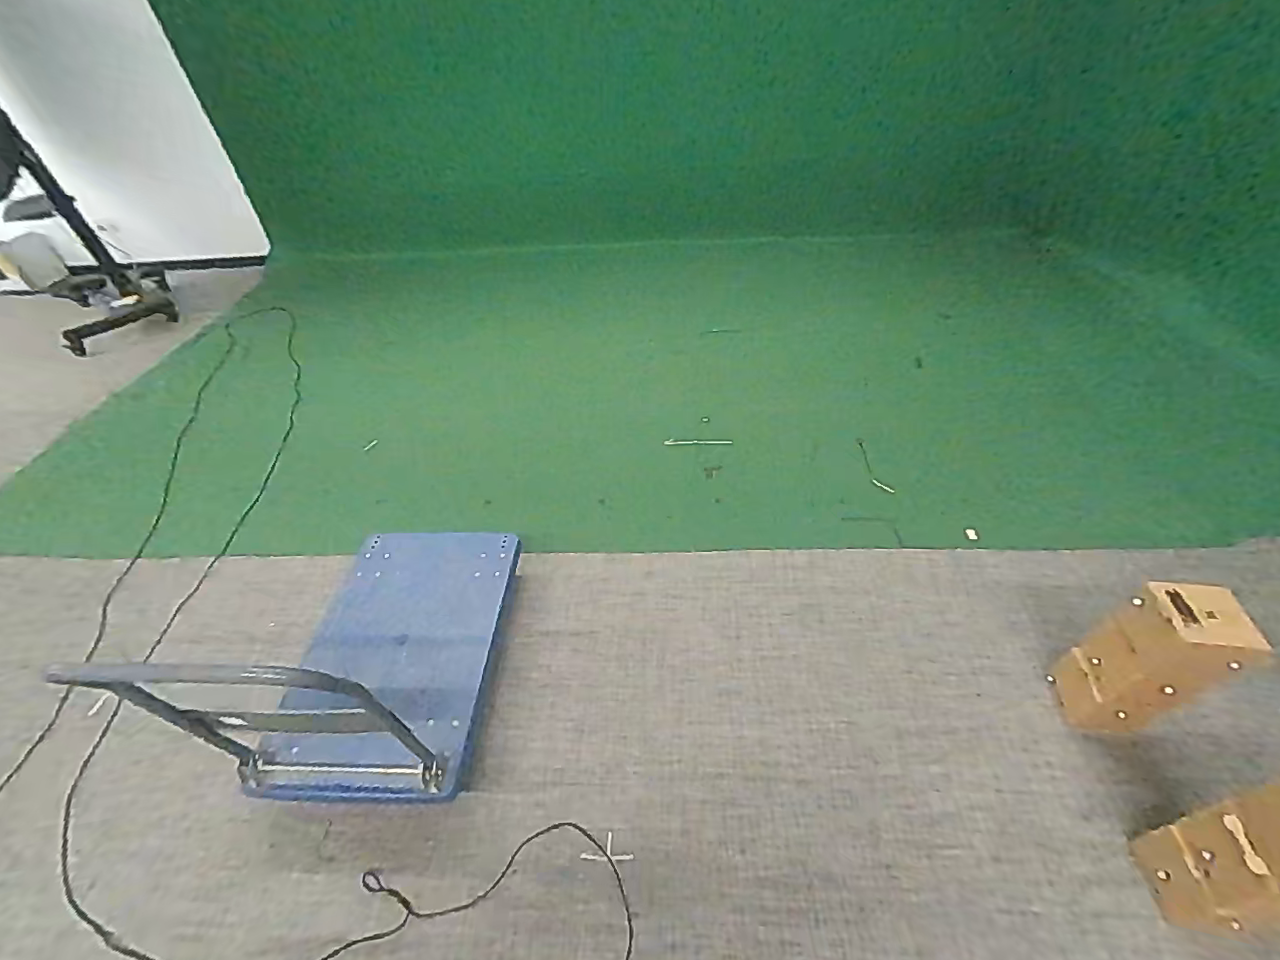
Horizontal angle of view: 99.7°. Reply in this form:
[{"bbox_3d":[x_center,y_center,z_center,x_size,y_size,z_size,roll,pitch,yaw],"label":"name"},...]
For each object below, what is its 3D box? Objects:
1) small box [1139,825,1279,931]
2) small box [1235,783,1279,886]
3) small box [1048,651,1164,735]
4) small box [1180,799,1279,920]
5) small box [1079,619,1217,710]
[{"bbox_3d":[1.294,0.904,1.226,0.179,0.176,0.168,-1,44,6],"label":"small box"},{"bbox_3d":[1.285,0.671,0.995,0.168,0.176,0.179,3,44,9],"label":"small box"},{"bbox_3d":[1.319,0.614,1.553,0.179,0.176,0.168,3,45,7],"label":"small box"},{"bbox_3d":[1.295,0.784,1.112,0.179,0.176,0.168,4,43,8],"label":"small box"},{"bbox_3d":[1.324,0.488,1.425,0.179,0.176,0.168,3,44,8],"label":"small box"}]
